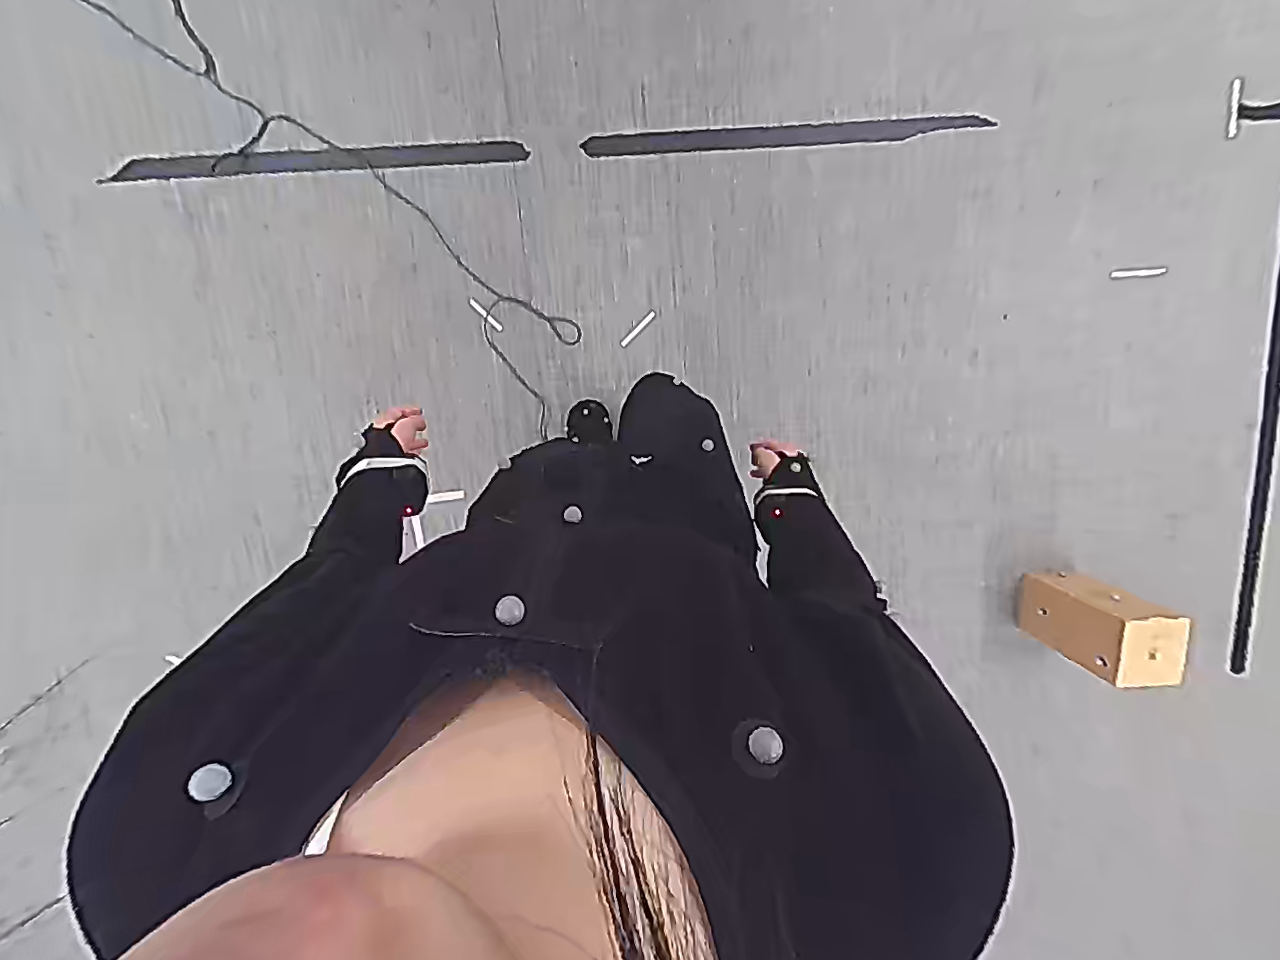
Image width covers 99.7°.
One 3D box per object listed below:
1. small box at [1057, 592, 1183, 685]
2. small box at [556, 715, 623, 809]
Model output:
[{"bbox_3d":[1.211,0.399,1.380,0.168,0.176,0.179,-1,100,-3],"label":"small box"},{"bbox_3d":[-0.143,0.801,1.559,0.168,0.176,0.179,-7,102,0],"label":"small box"}]
